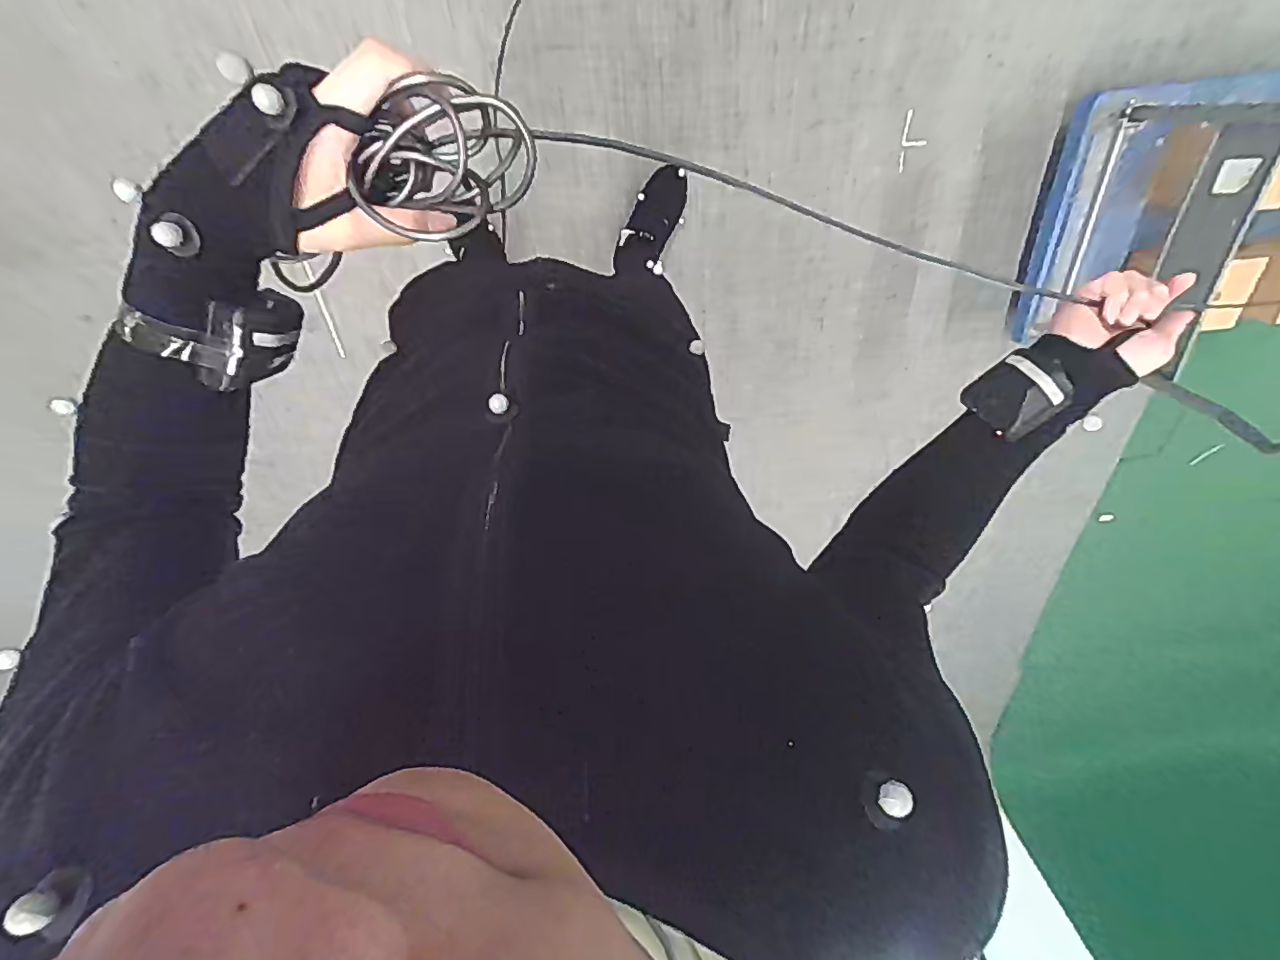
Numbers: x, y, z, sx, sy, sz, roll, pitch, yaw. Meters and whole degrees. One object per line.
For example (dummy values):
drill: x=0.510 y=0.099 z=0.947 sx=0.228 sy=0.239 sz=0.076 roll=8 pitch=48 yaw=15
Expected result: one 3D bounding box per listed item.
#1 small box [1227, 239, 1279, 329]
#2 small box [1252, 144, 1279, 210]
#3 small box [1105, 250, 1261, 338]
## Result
small box: x=1.588 y=-0.490 z=1.334 sx=0.179 sy=0.176 sz=0.168 roll=-9 pitch=123 yaw=2
small box: x=1.550 y=-0.698 z=1.197 sx=0.179 sy=0.176 sz=0.168 roll=-9 pitch=124 yaw=1
small box: x=1.320 y=-0.461 z=1.330 sx=0.179 sy=0.176 sz=0.168 roll=-5 pitch=123 yaw=-1
